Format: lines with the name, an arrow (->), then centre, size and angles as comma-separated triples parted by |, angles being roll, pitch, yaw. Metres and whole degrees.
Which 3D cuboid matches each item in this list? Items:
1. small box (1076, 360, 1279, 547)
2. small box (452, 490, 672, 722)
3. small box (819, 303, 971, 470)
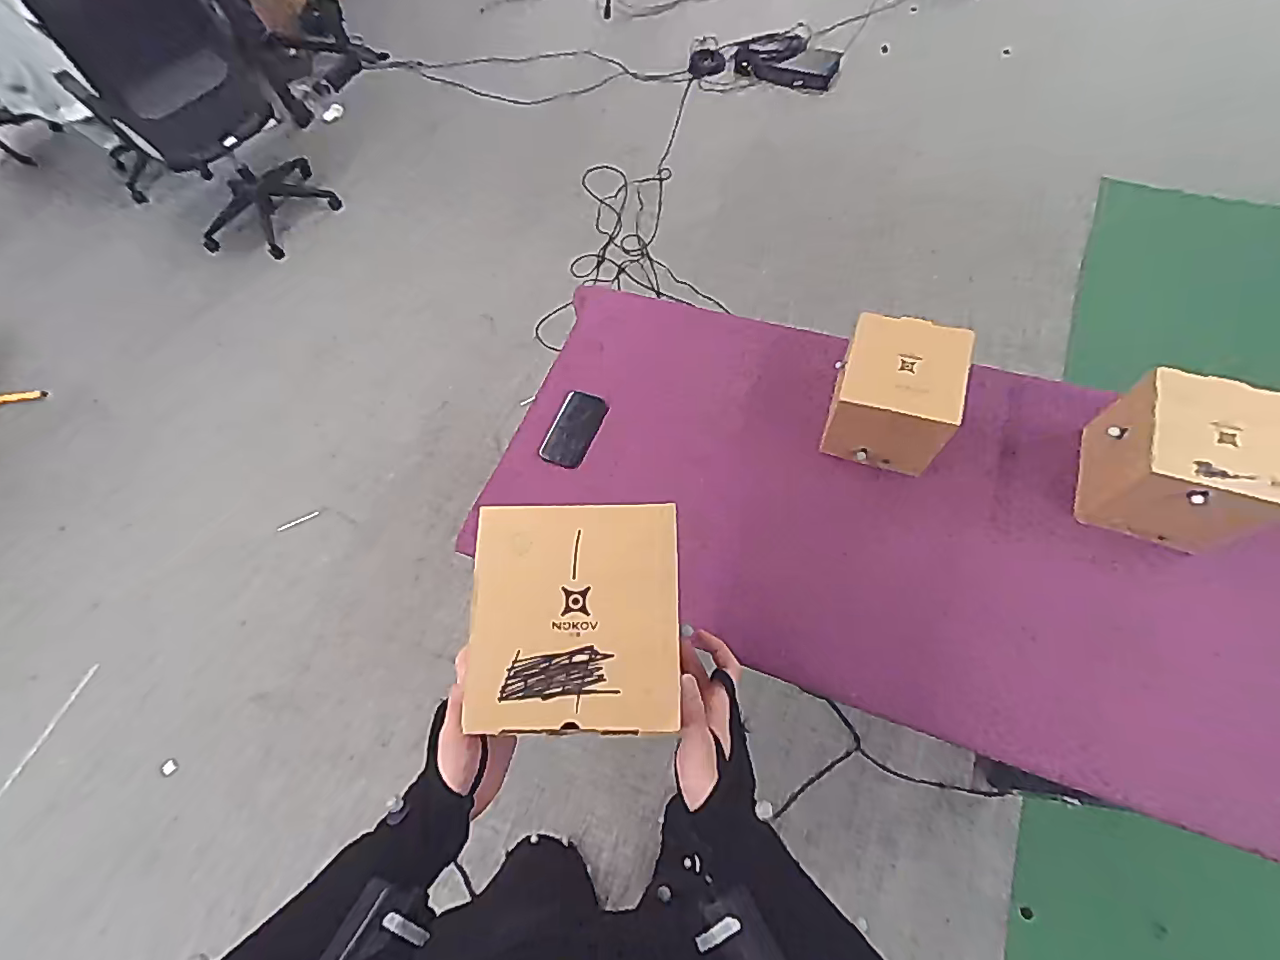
small box -> 0.753, -0.033, 0.756 | 0.168, 0.176, 0.179 | 18, 67, 16
small box -> -0.054, 0.115, 0.494 | 0.168, 0.176, 0.179 | -1, 72, 2
small box -> 0.394, -0.143, 0.856 | 0.168, 0.176, 0.179 | 16, 67, 15
